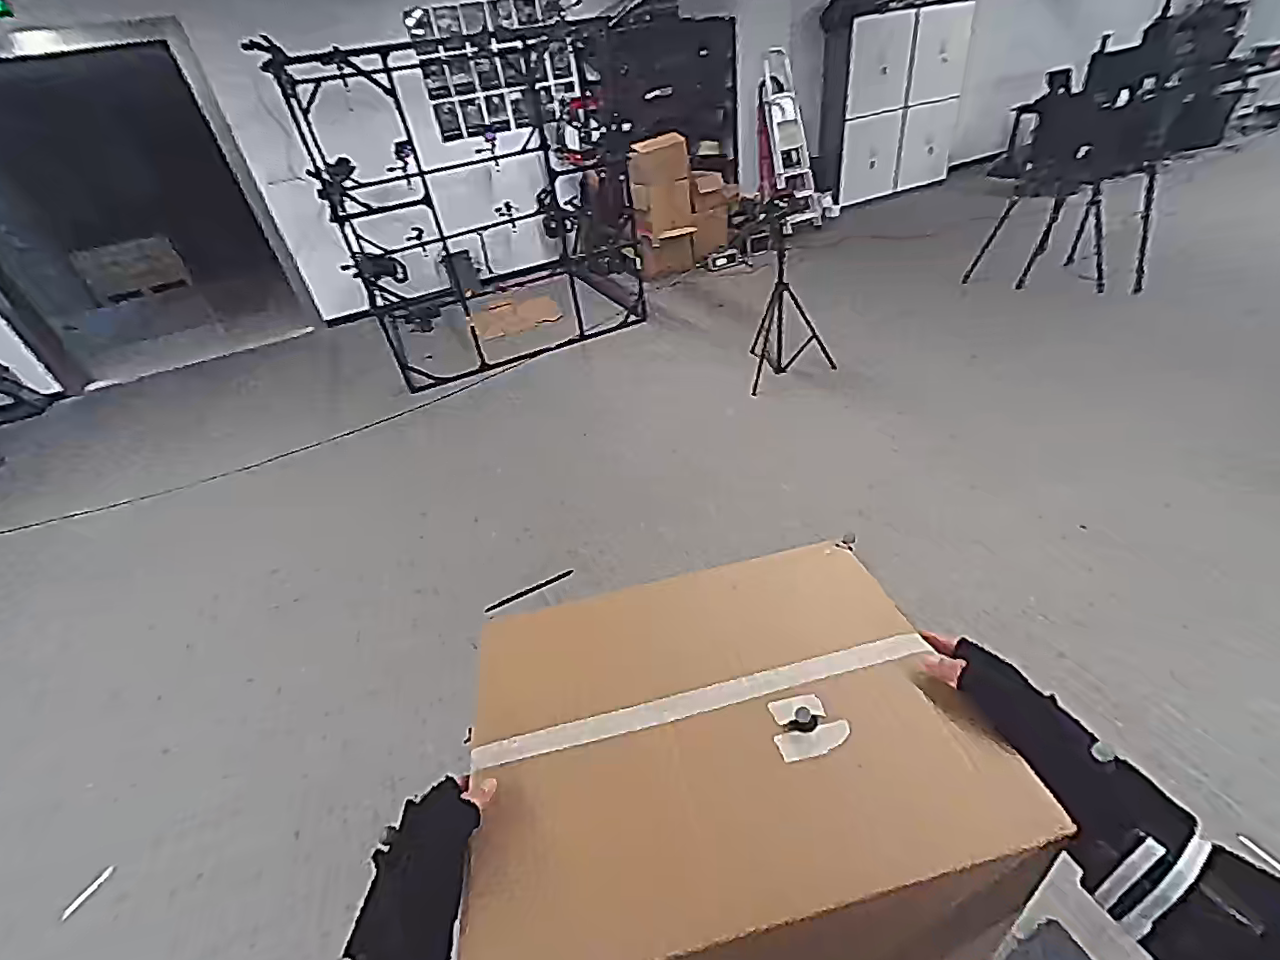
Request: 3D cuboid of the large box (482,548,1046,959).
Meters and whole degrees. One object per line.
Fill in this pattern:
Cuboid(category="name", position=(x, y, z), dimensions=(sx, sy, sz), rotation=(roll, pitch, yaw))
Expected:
Cuboid(category="large box", position=(0.081, 0.321, 0.557), dimensions=(0.408, 0.320, 0.320), rotation=(-12, 34, -5))
